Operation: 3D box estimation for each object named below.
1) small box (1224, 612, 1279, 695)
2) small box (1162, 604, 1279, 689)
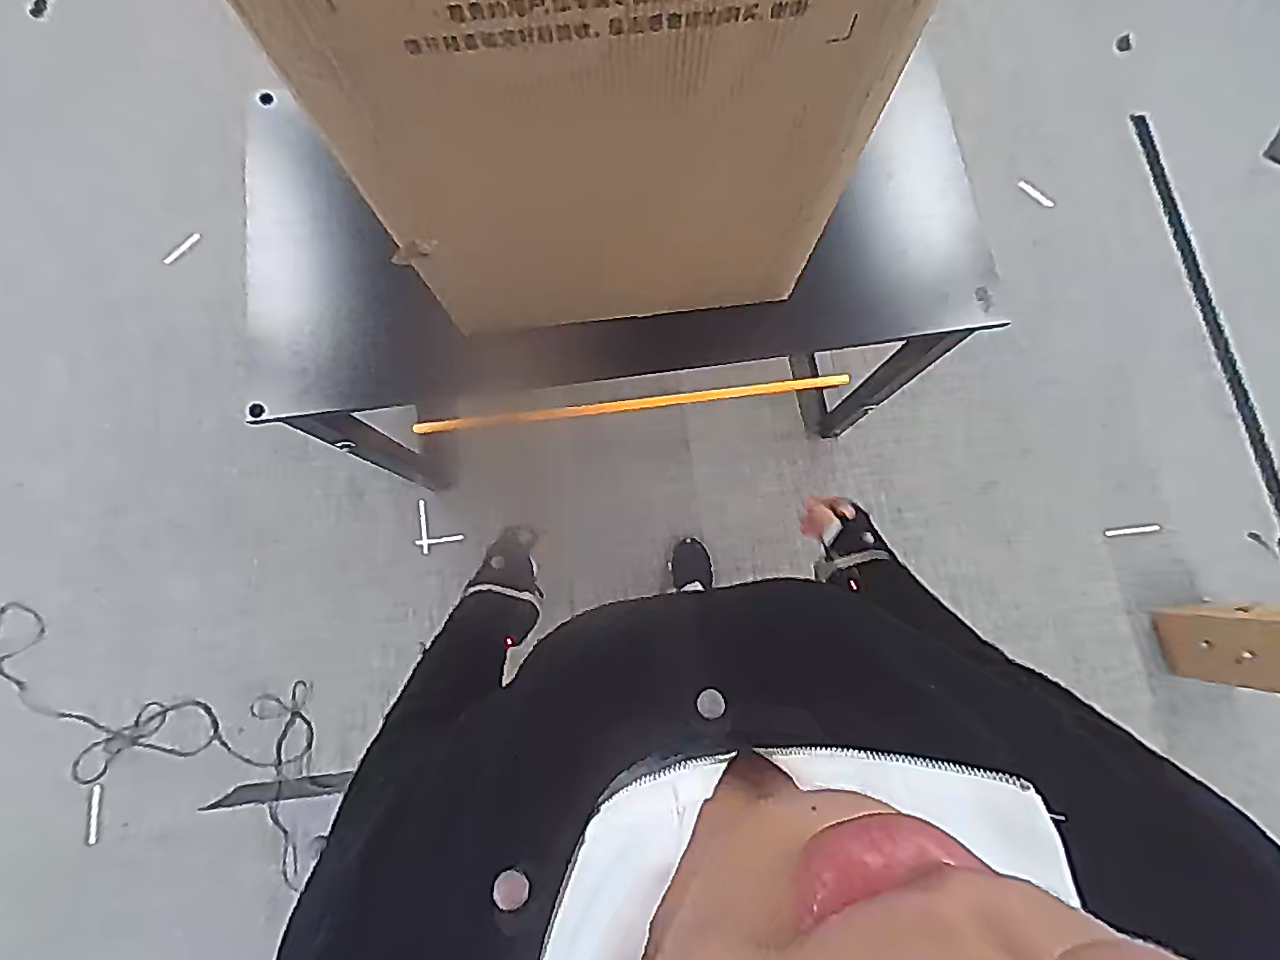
[{"bbox_3d":[1.504,0.390,1.217,0.179,0.176,0.168,-7,79,-1],"label":"small box"},{"bbox_3d":[1.504,0.417,1.380,0.168,0.176,0.179,-11,80,-2],"label":"small box"}]
